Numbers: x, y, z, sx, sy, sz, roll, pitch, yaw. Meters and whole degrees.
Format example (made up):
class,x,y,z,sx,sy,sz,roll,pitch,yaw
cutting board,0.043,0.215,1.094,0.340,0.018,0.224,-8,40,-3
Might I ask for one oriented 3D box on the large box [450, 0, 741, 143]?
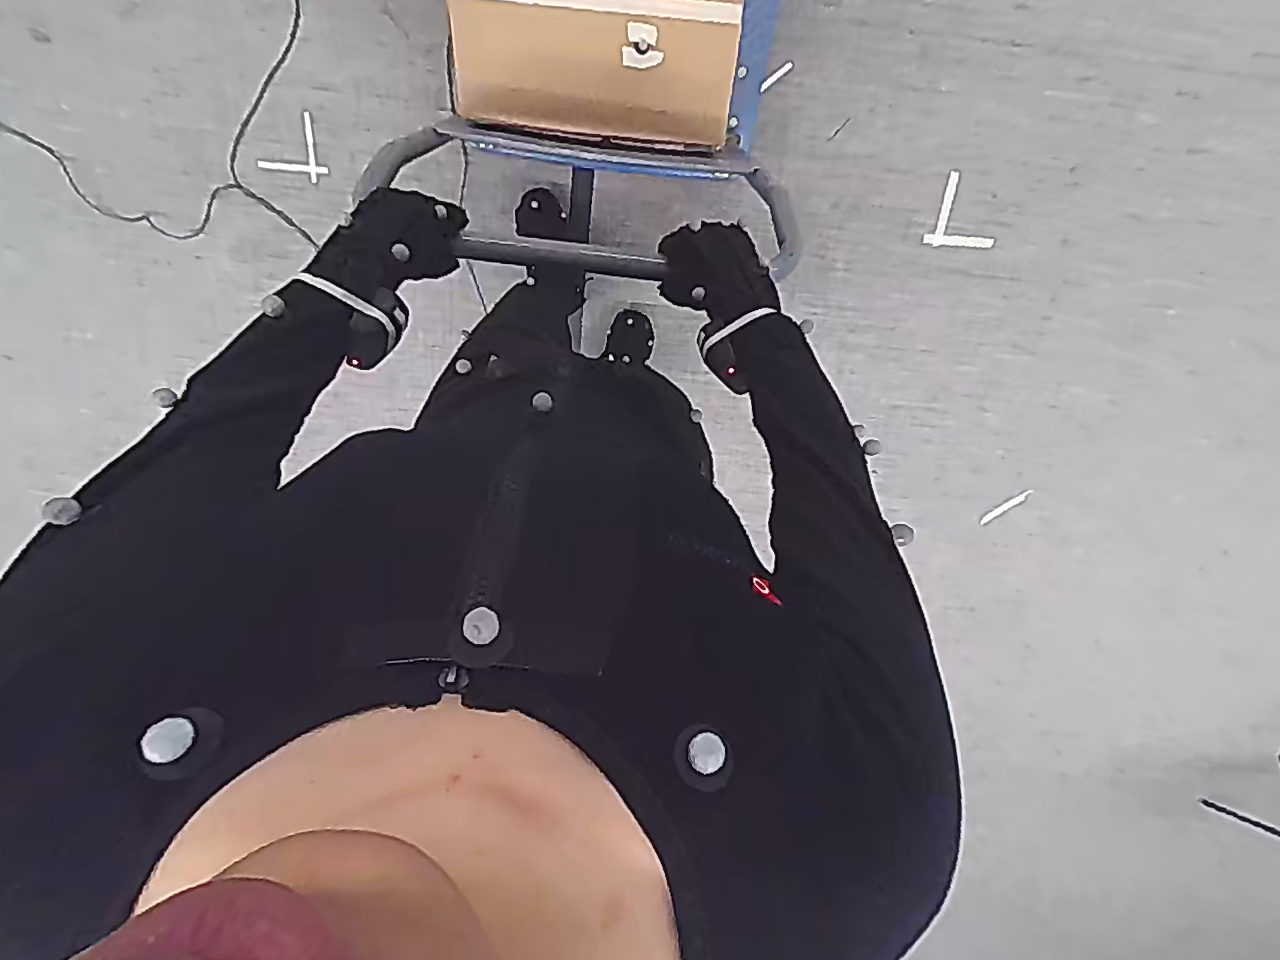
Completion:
class,x,y,z,sx,sy,sz,roll,pitch,yaw
large box,-0.065,-0.736,0.856,0.408,0.320,0.320,3,126,-4
